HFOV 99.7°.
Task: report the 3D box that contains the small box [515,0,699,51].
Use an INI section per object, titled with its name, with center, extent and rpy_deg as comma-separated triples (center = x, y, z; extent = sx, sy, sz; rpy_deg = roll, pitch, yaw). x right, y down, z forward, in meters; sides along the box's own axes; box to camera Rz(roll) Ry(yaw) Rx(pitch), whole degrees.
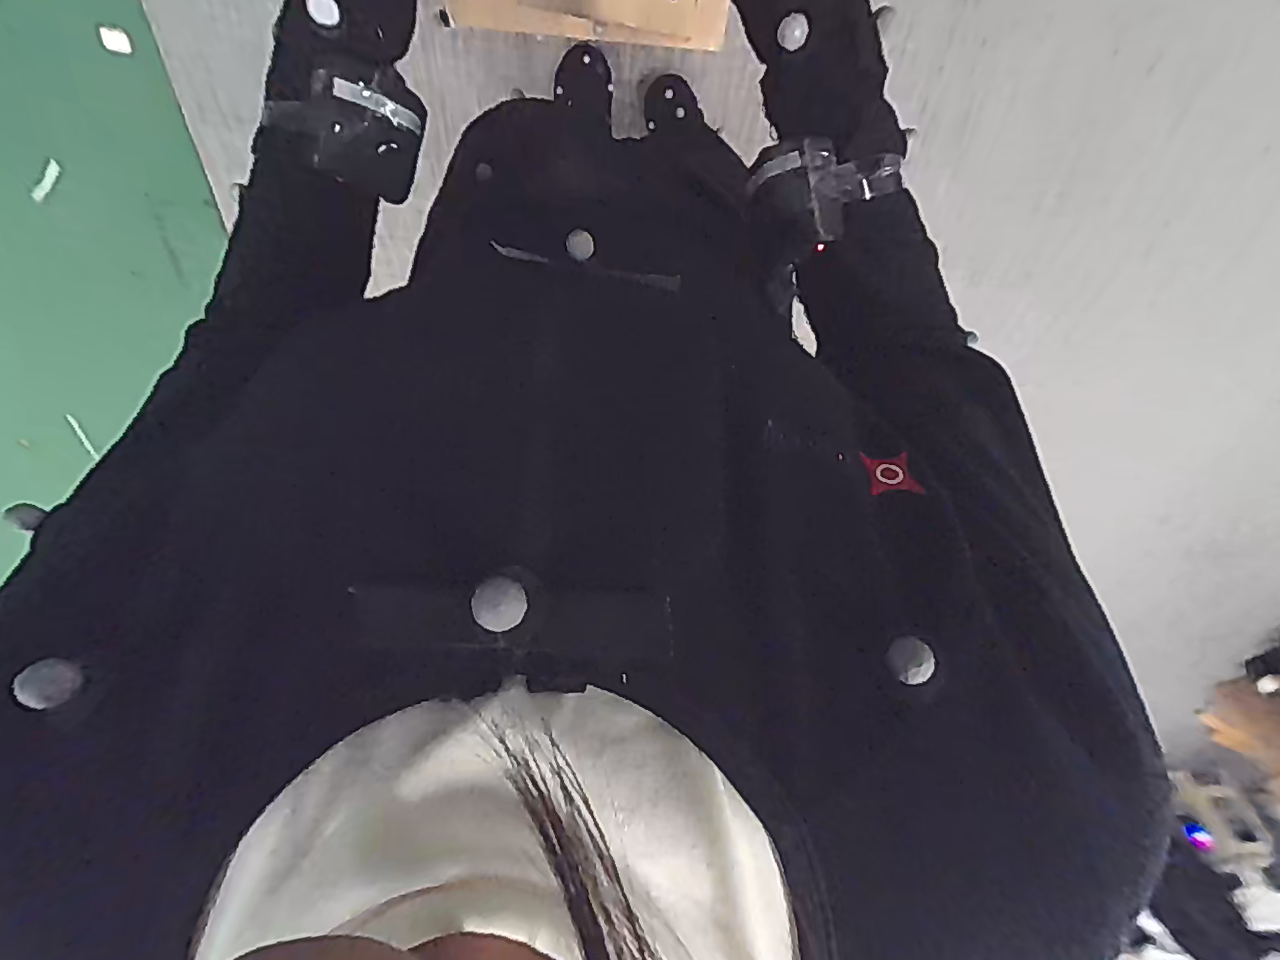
[small box]
center = -0.021, -0.557, 0.539
extent = 0.179, 0.176, 0.168
rpy_deg = 8, 132, -6
